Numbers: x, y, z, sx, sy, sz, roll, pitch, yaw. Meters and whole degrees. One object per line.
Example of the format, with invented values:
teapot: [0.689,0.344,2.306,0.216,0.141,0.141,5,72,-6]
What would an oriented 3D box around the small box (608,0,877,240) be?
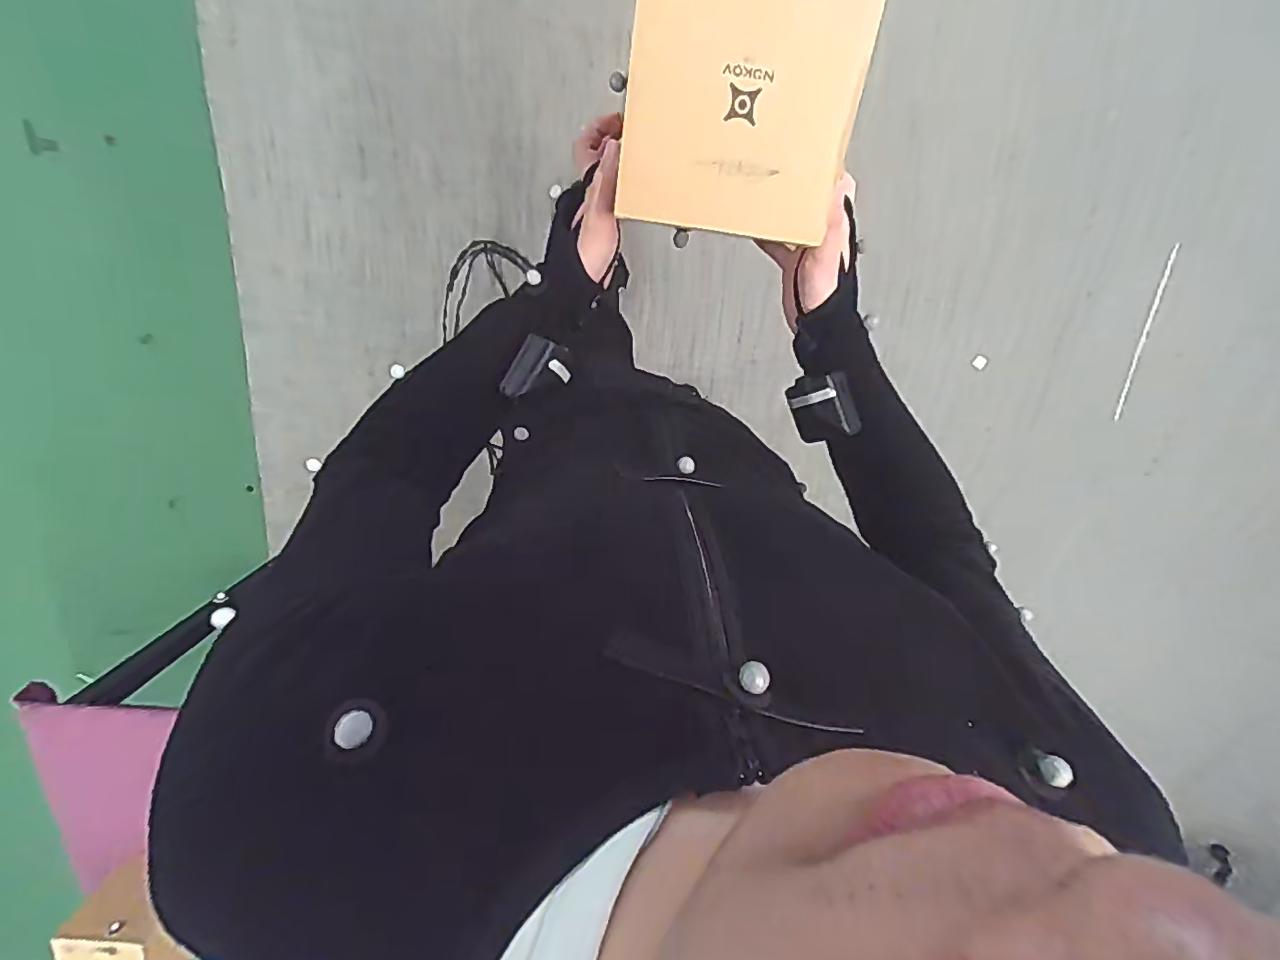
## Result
small box: [0.067,-0.306,0.449,0.168,0.176,0.179,7,115,-2]

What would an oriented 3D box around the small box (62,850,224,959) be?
small box: [-0.987,0.896,1.095,0.168,0.176,0.179,5,108,-2]
